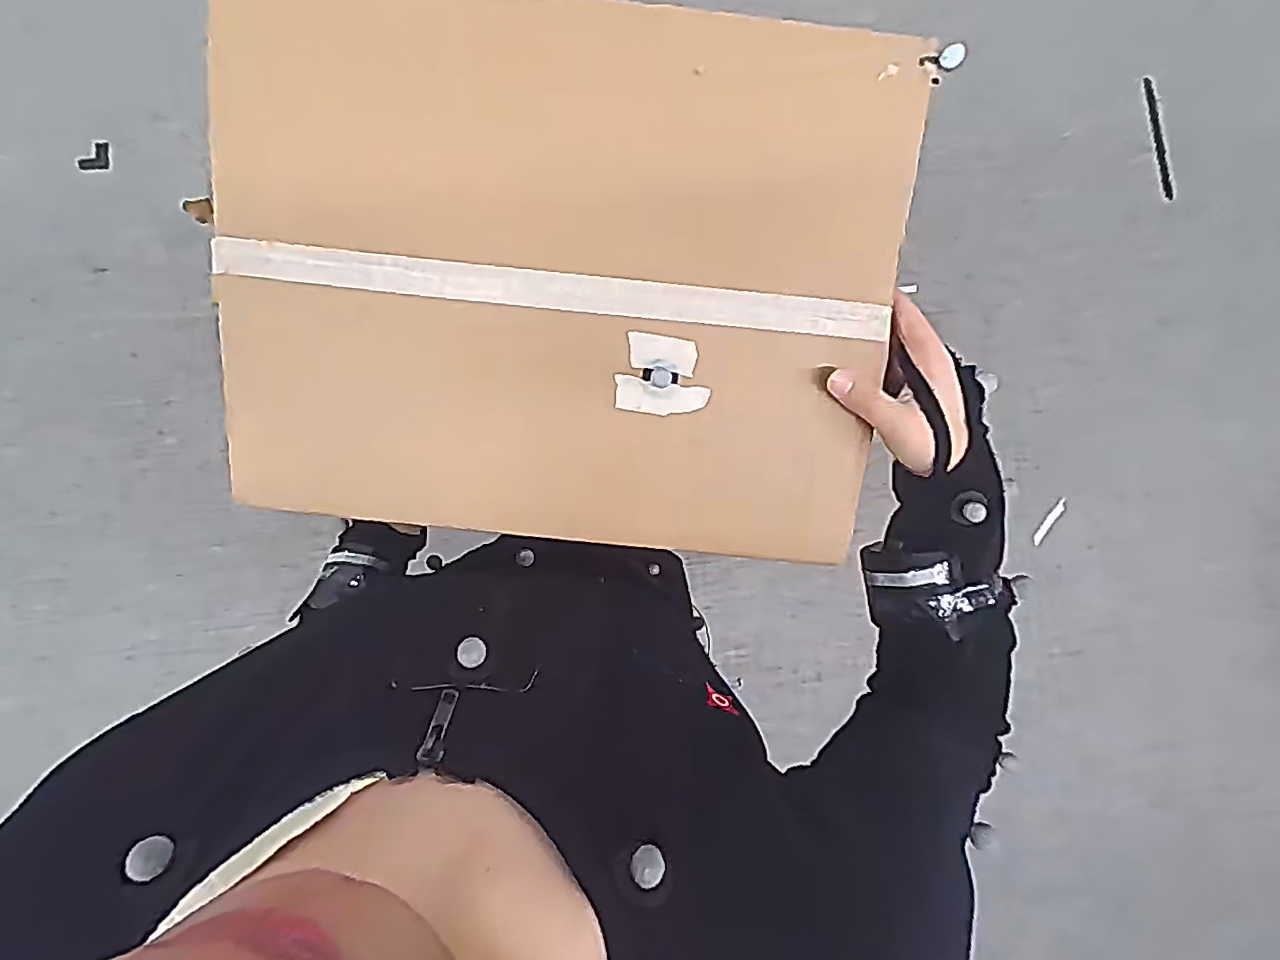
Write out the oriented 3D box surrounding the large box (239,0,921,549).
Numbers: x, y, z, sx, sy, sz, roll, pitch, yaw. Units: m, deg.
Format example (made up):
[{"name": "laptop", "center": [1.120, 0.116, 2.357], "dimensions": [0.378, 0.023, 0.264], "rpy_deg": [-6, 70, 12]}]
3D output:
[{"name": "large box", "center": [-0.046, -0.142, 0.485], "dimensions": [0.408, 0.320, 0.320], "rpy_deg": [5, 102, -2]}]
